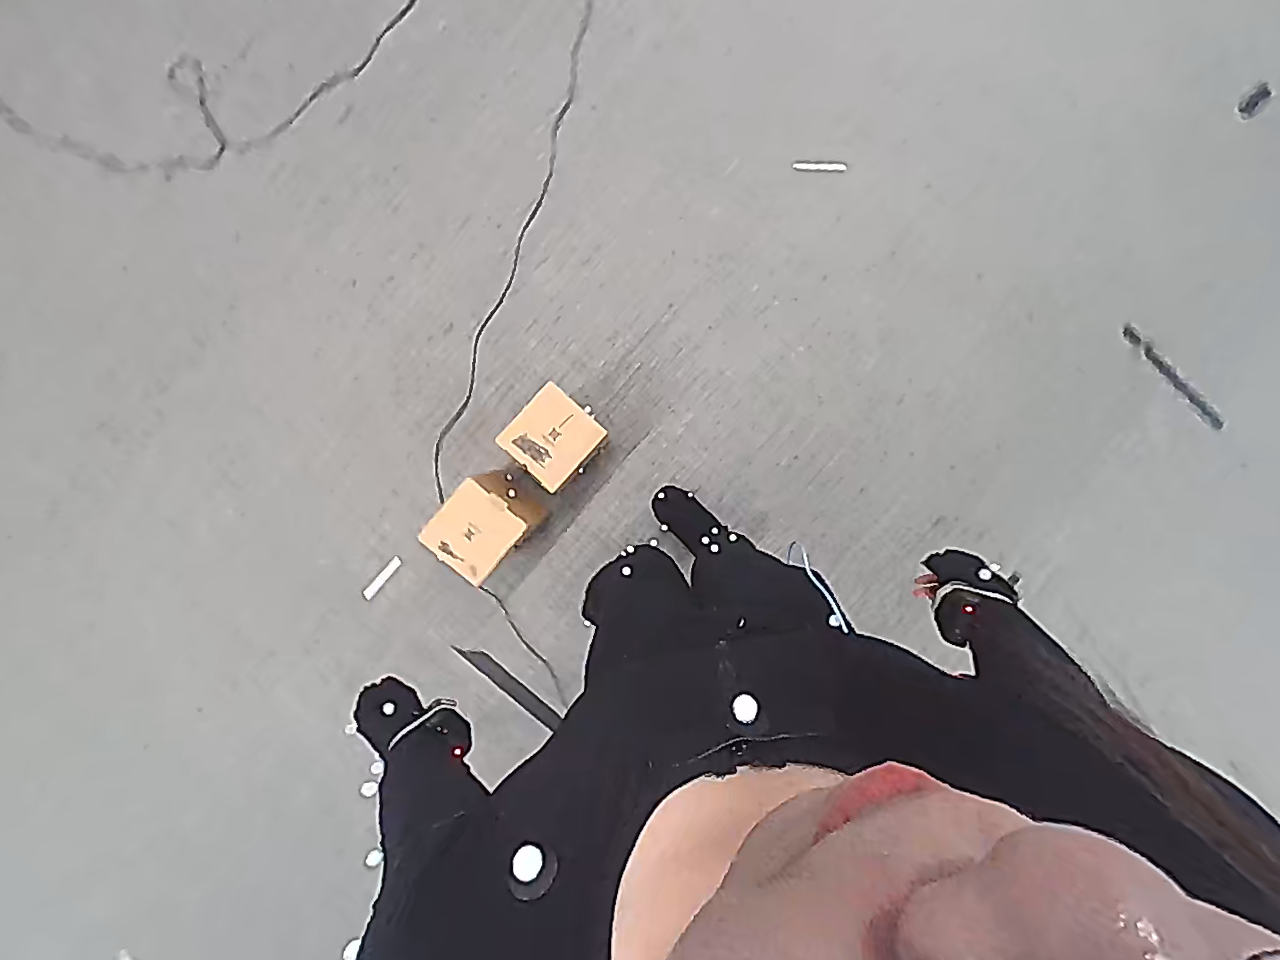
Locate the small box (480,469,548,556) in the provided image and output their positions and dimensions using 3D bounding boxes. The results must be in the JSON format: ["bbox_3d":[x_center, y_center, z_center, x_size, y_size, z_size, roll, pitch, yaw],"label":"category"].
[{"bbox_3d":[-0.359,0.088,1.377,0.179,0.176,0.168,41,92,-4],"label":"small box"}]

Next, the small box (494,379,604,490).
[{"bbox_3d":[-0.192,-0.096,1.210,0.168,0.176,0.179,42,89,-4],"label":"small box"}]

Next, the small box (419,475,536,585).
[{"bbox_3d":[-0.351,0.102,1.214,0.168,0.176,0.179,40,91,-3],"label":"small box"}]
